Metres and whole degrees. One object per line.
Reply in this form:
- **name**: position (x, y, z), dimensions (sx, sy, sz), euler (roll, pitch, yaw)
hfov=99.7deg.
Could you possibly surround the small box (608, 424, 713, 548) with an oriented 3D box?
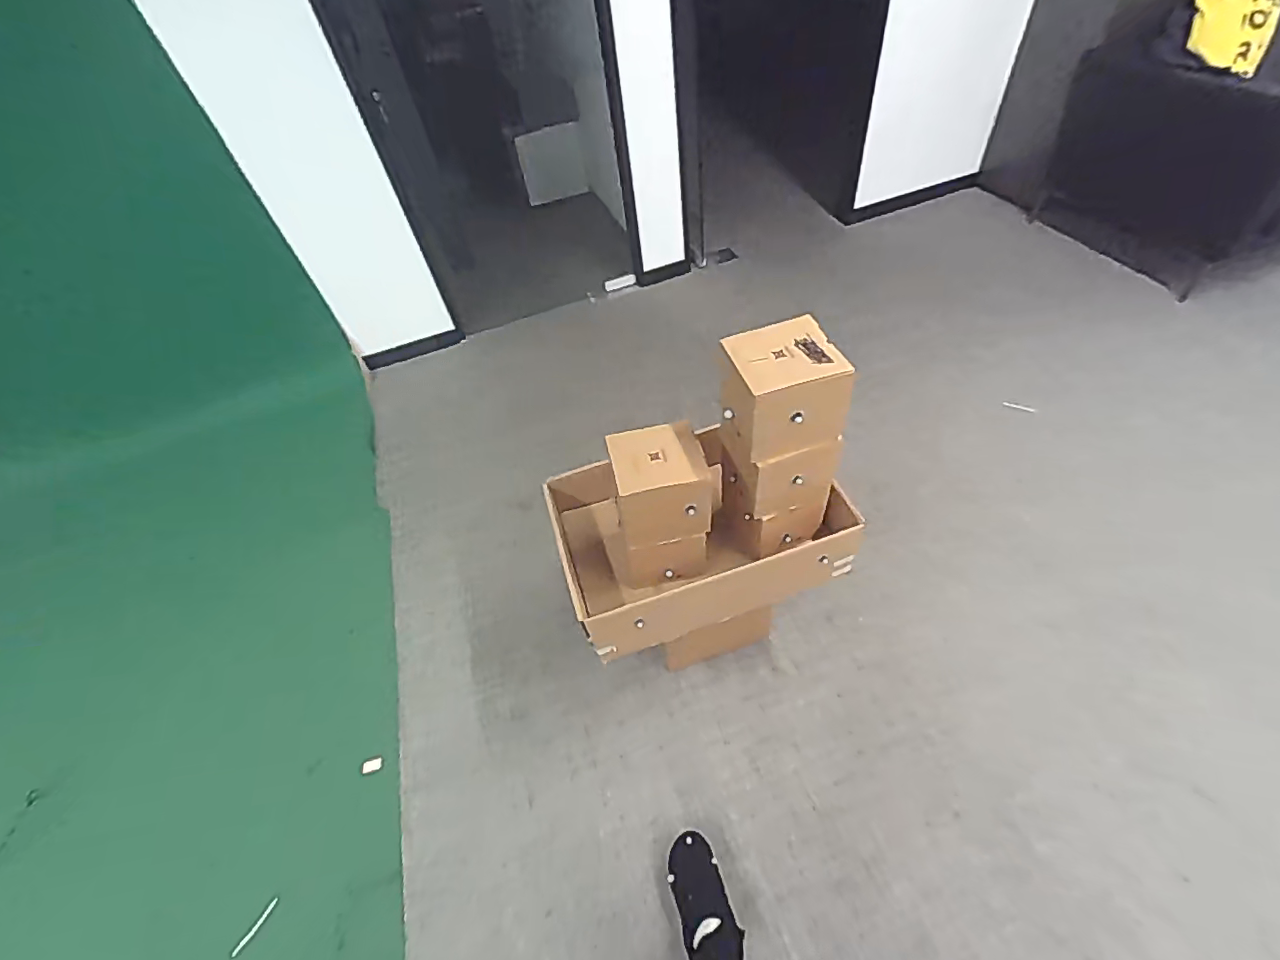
- **small box**: position (0.038, 0.015, 1.084), dimensions (0.179, 0.176, 0.168), euler (-11, 48, -4)

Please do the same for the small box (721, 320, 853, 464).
- **small box**: position (0.254, -0.156, 0.979), dimensions (0.179, 0.176, 0.168), euler (-16, 50, -3)
